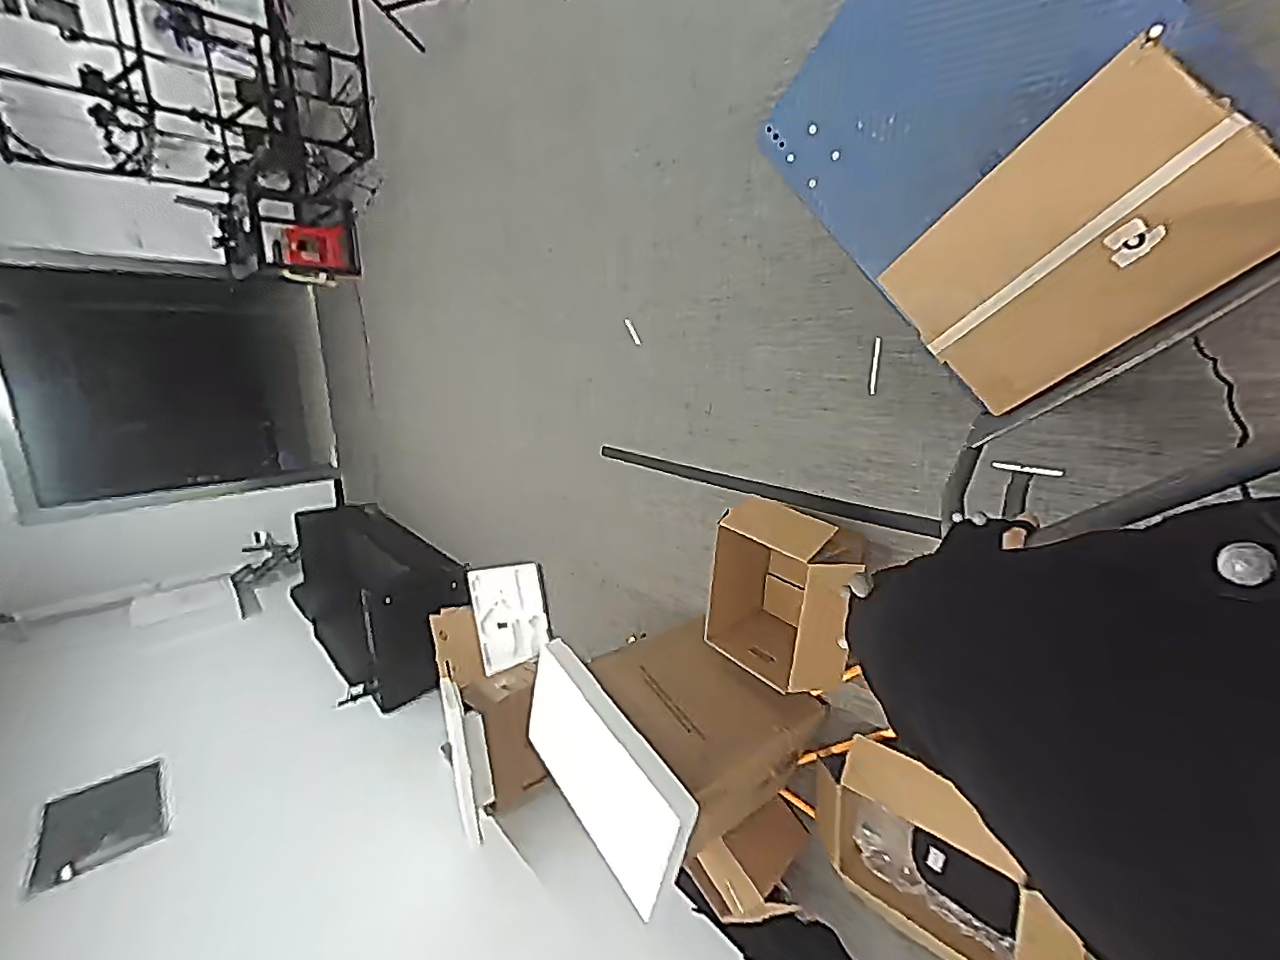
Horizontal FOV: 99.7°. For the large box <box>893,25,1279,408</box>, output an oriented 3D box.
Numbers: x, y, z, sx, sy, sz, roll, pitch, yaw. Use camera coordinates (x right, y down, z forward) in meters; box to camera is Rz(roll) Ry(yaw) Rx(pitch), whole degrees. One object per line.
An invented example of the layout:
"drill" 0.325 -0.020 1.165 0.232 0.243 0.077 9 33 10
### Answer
"large box" 0.713 -0.386 0.877 0.320 0.320 0.408 52 135 8
